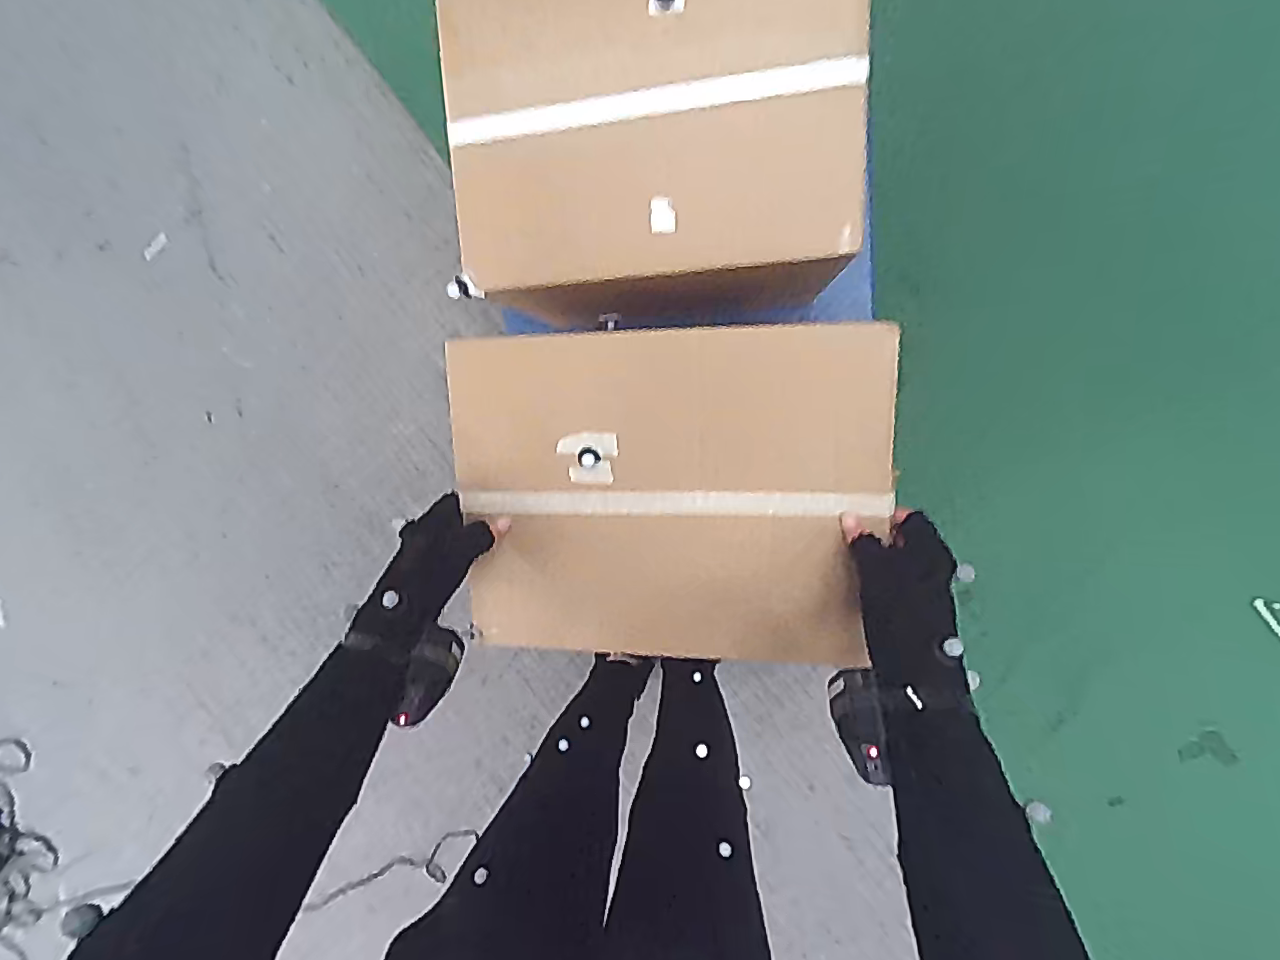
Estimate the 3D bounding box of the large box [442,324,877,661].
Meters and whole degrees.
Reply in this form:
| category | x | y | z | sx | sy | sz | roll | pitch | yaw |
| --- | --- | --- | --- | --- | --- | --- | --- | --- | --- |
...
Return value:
| category | x | y | z | sx | sy | sz | roll | pitch | yaw |
| --- | --- | --- | --- | --- | --- | --- | --- | --- | --- |
| large box | 0.036 | -0.009 | 0.654 | 0.408 | 0.320 | 0.320 | 1 | 101 | 10 |
